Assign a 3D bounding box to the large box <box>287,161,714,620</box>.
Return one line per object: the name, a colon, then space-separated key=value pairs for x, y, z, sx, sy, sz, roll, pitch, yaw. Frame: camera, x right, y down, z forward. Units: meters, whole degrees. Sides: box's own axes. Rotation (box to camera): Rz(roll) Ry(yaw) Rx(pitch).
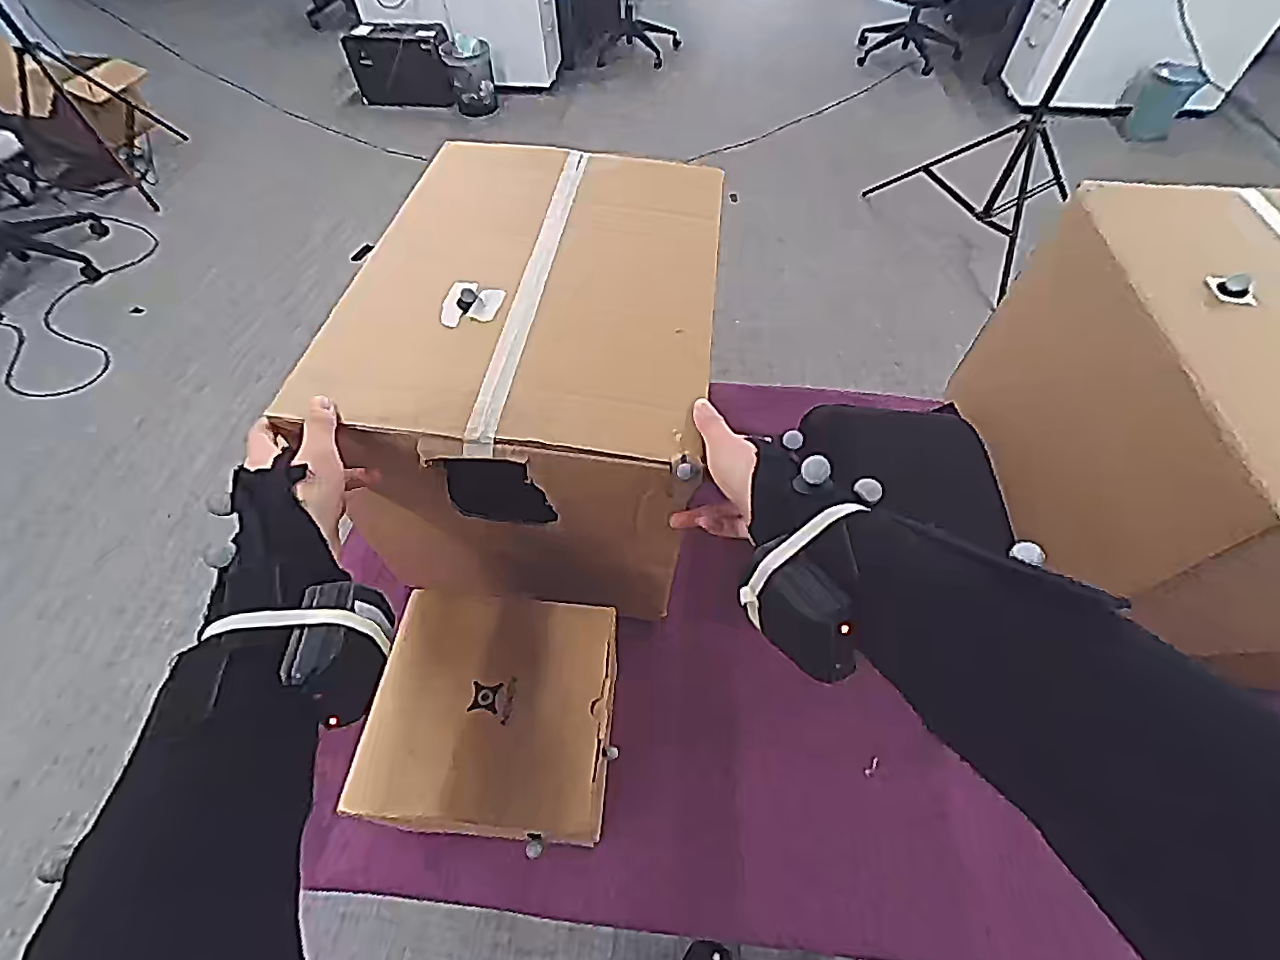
large box: x=-0.097 y=-0.094 z=0.621 sx=0.320 sy=0.320 sz=0.408 roll=6 pitch=58 yaw=2
